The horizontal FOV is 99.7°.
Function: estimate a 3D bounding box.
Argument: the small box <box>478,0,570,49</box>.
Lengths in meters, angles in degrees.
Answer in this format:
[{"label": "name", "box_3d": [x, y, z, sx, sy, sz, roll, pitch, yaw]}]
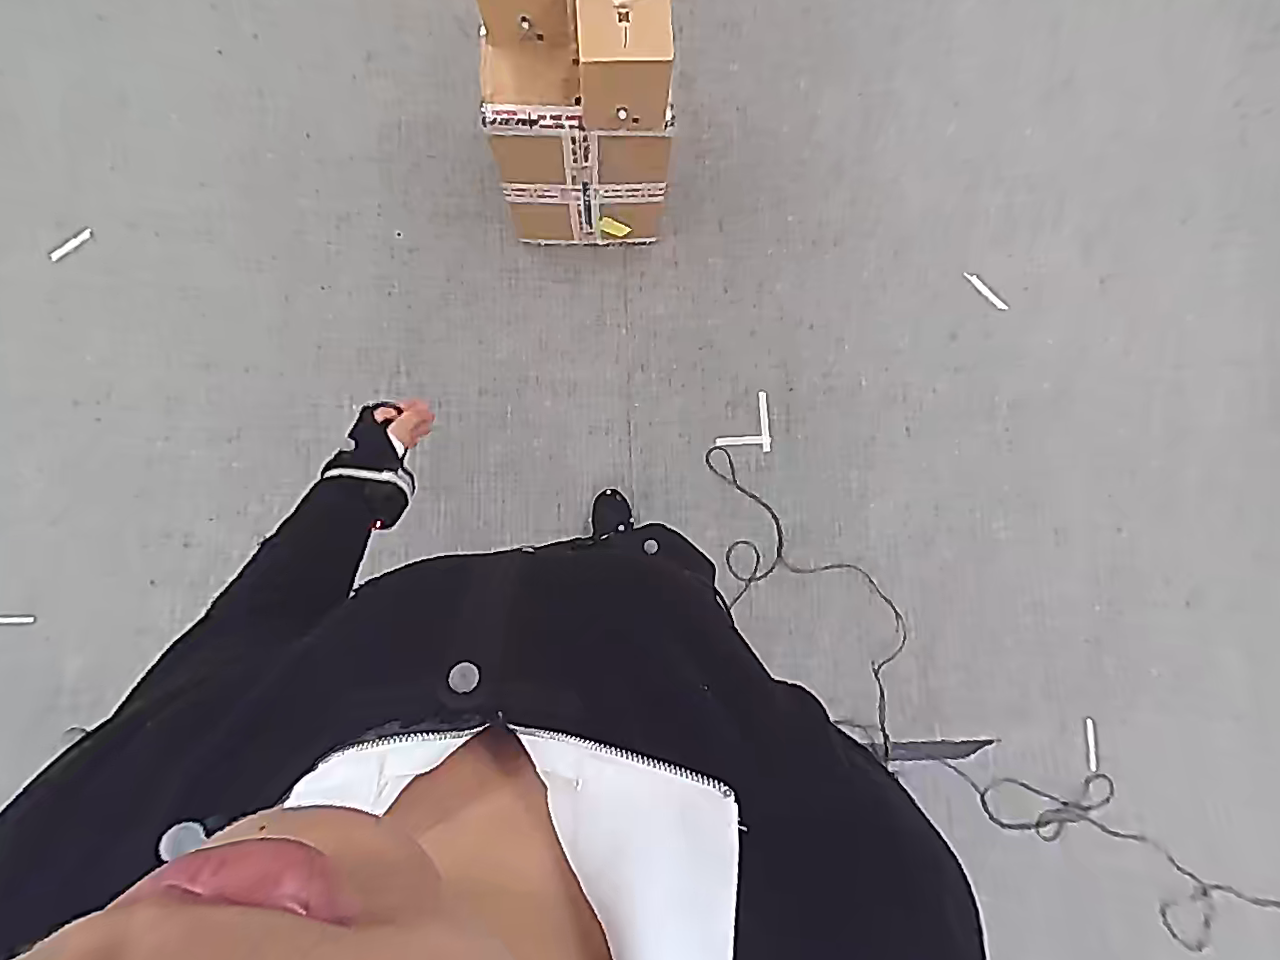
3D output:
[{"label": "small box", "box_3d": [-0.222, -0.962, 1.013, 0.168, 0.176, 0.179, -2, 87, -2]}]

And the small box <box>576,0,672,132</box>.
[{"label": "small box", "box_3d": [-0.034, -0.795, 1.013, 0.168, 0.176, 0.179, -3, 88, -4]}]
